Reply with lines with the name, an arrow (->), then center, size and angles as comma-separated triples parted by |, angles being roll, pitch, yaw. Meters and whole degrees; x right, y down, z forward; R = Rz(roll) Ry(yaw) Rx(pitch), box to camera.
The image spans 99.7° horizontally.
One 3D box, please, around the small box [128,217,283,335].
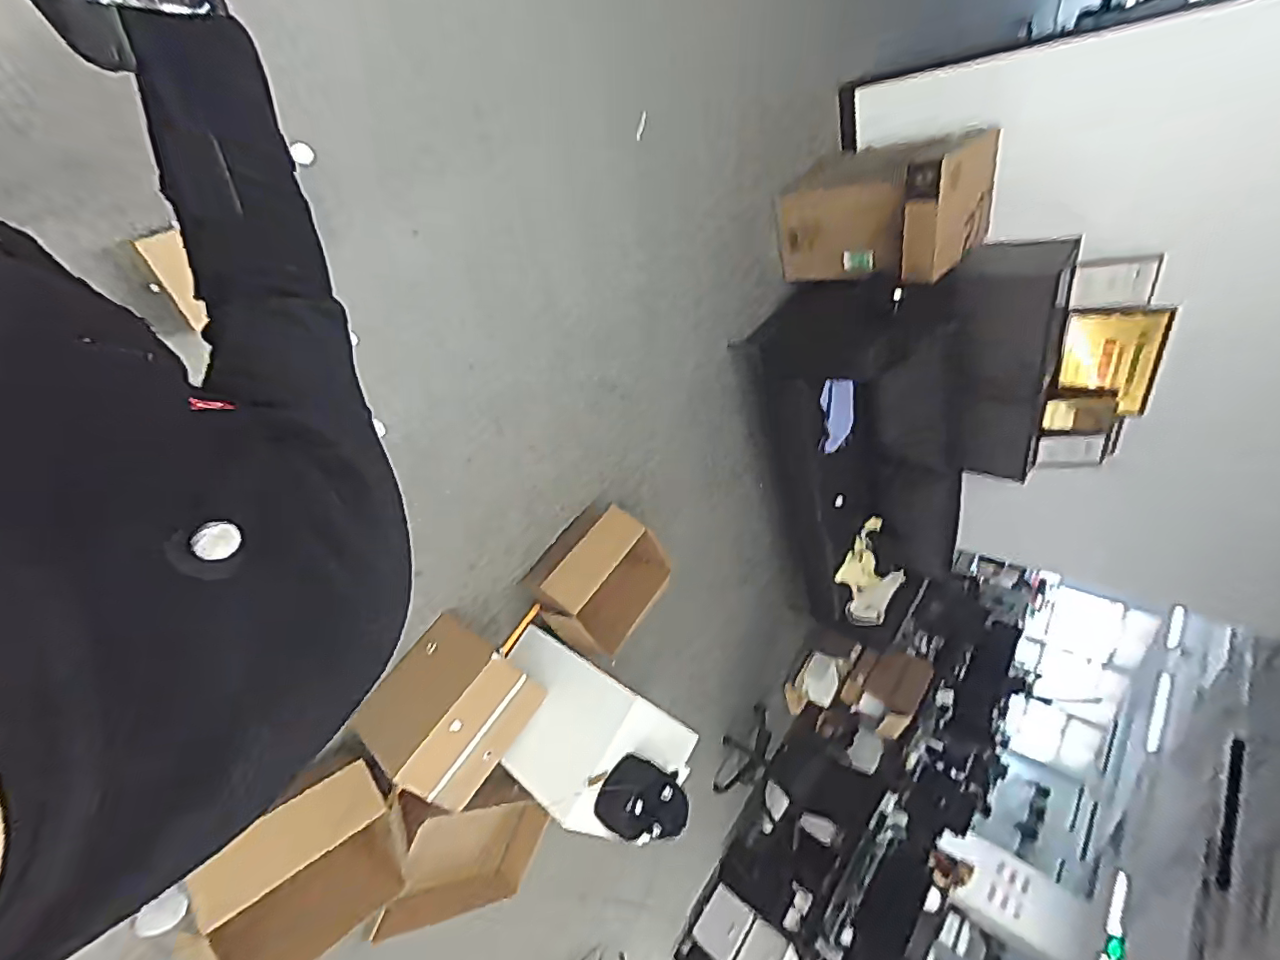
small box -> -0.863, -0.402, 1.075 | 0.168, 0.176, 0.179 | -40, 130, -32
